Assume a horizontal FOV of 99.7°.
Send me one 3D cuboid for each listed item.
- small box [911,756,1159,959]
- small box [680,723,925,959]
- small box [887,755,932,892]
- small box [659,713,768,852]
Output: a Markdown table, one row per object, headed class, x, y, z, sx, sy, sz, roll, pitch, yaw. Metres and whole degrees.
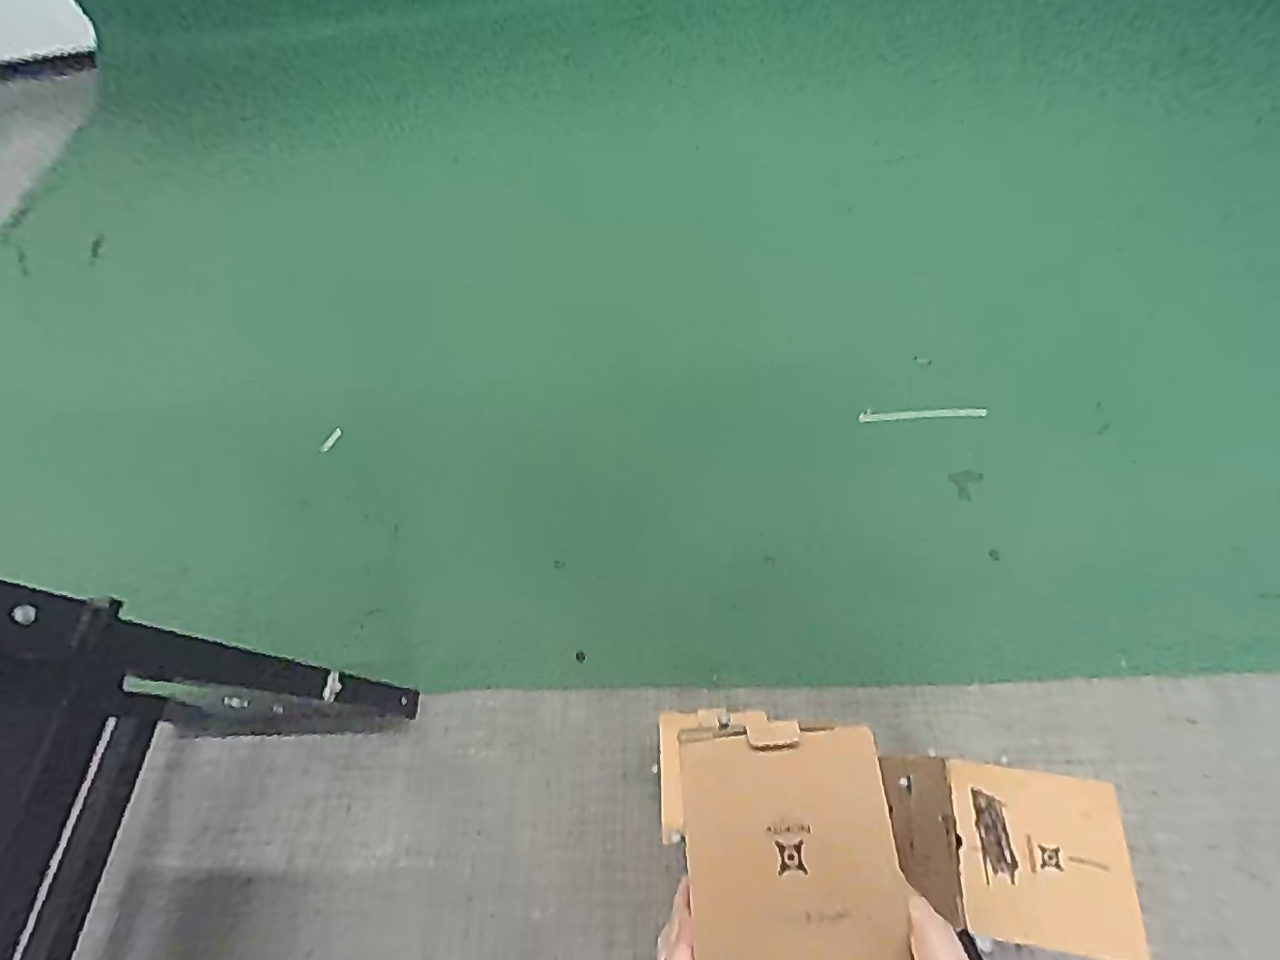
| class | x | y | z | sx | sy | sz | roll | pitch | yaw |
| --- | --- | --- | --- | --- | --- | --- | --- | --- | --- |
| small box | 0.437 | 0.433 | 0.640 | 0.179 | 0.176 | 0.168 | 5 | 64 | 9 |
| small box | 0.123 | 0.316 | 0.484 | 0.168 | 0.176 | 0.179 | -4 | 67 | 3 |
| small box | 0.461 | 0.508 | 0.784 | 0.179 | 0.176 | 0.168 | 7 | 64 | 10 |
| small box | 0.121 | 0.468 | 0.848 | 0.168 | 0.176 | 0.179 | -4 | 61 | 5 |
